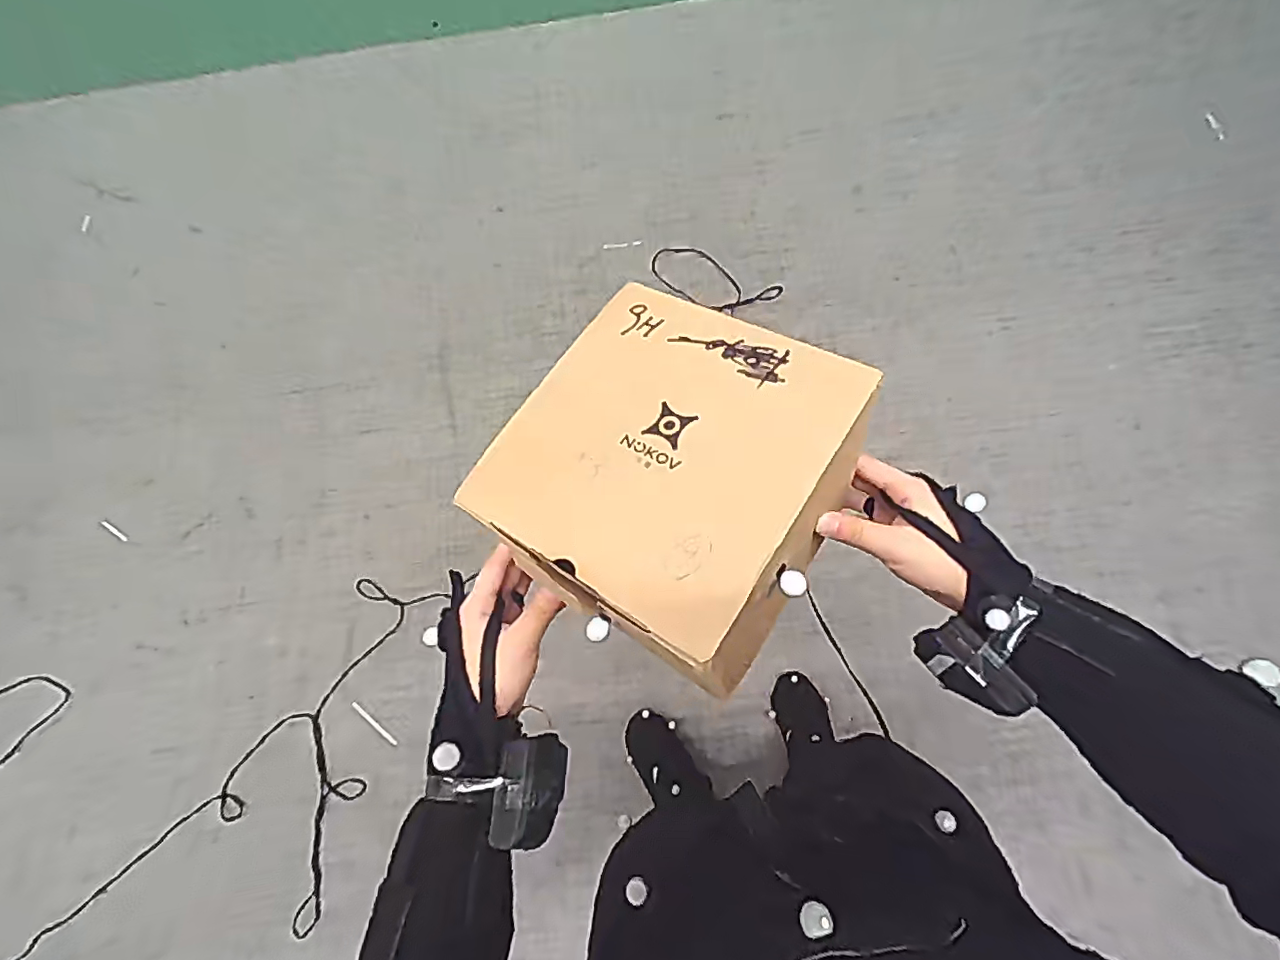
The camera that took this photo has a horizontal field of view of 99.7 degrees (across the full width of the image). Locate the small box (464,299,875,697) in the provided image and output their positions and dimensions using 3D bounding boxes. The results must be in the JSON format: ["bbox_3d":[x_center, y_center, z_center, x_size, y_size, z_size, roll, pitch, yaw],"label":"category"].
[{"bbox_3d":[0.029,0.022,0.360,0.168,0.176,0.179,29,74,24],"label":"small box"}]
